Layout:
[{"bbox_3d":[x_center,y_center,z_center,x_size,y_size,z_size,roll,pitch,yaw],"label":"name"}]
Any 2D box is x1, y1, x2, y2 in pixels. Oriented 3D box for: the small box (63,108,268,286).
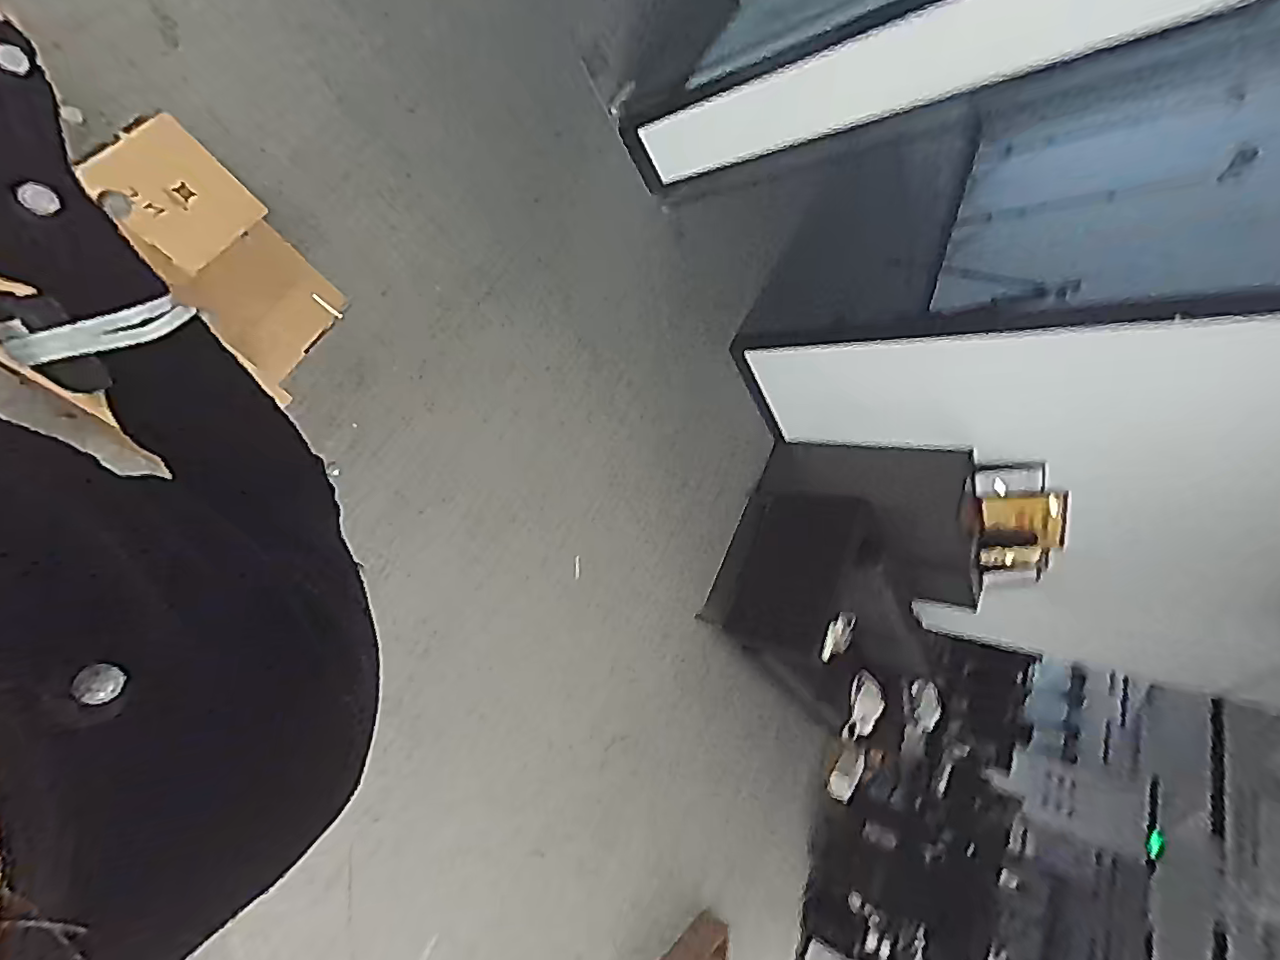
[{"bbox_3d":[-0.757,-0.441,0.863,0.168,0.176,0.179,50,54,-41],"label":"small box"}]
